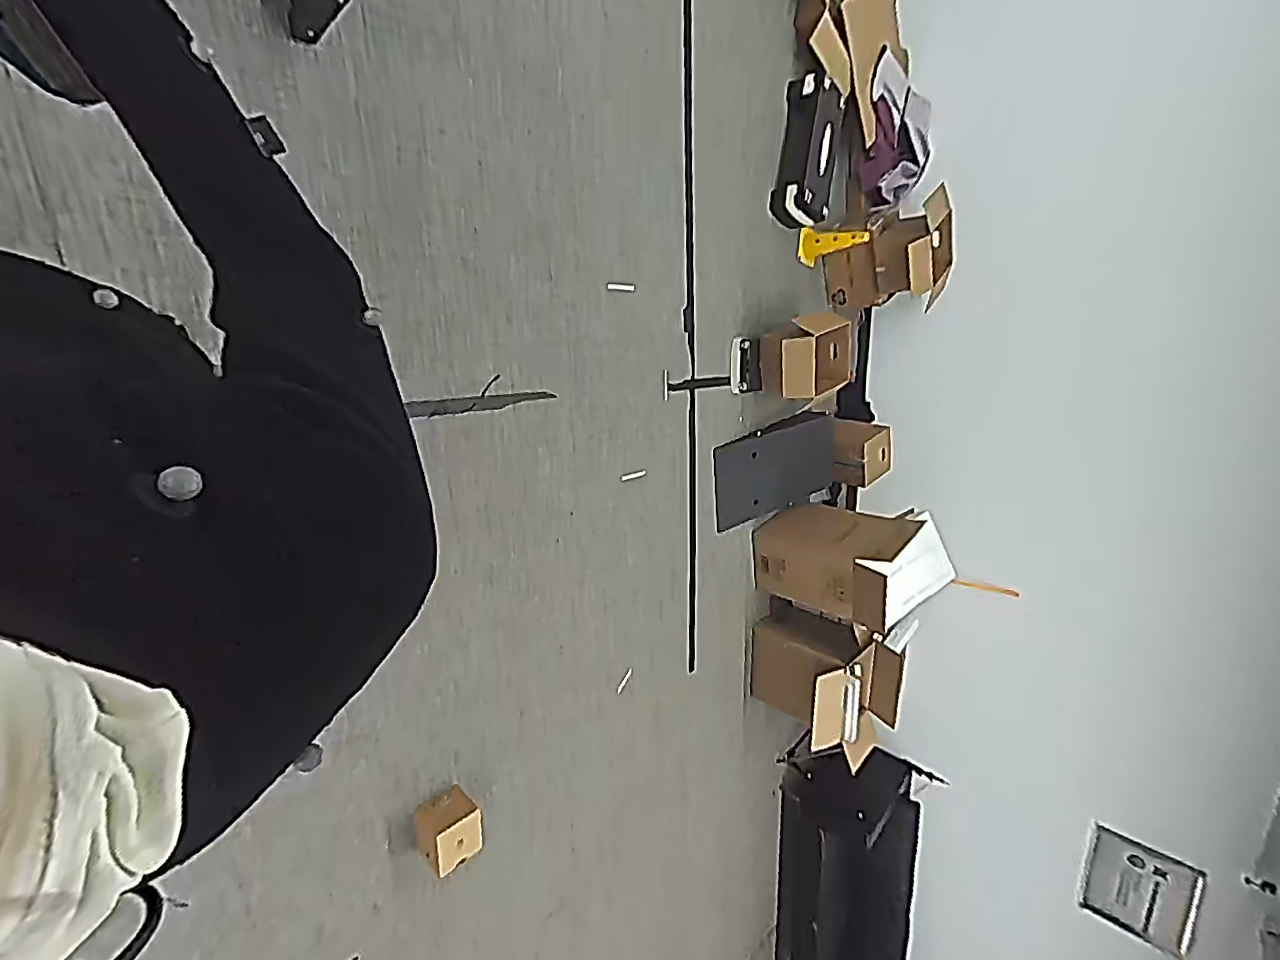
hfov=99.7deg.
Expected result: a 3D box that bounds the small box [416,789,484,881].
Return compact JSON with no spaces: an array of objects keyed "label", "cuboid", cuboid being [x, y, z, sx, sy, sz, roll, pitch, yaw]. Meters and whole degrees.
[{"label":"small box","cuboid":[-0.670,1.240,1.903,0.168,0.176,0.179,-13,109,-46]}]
